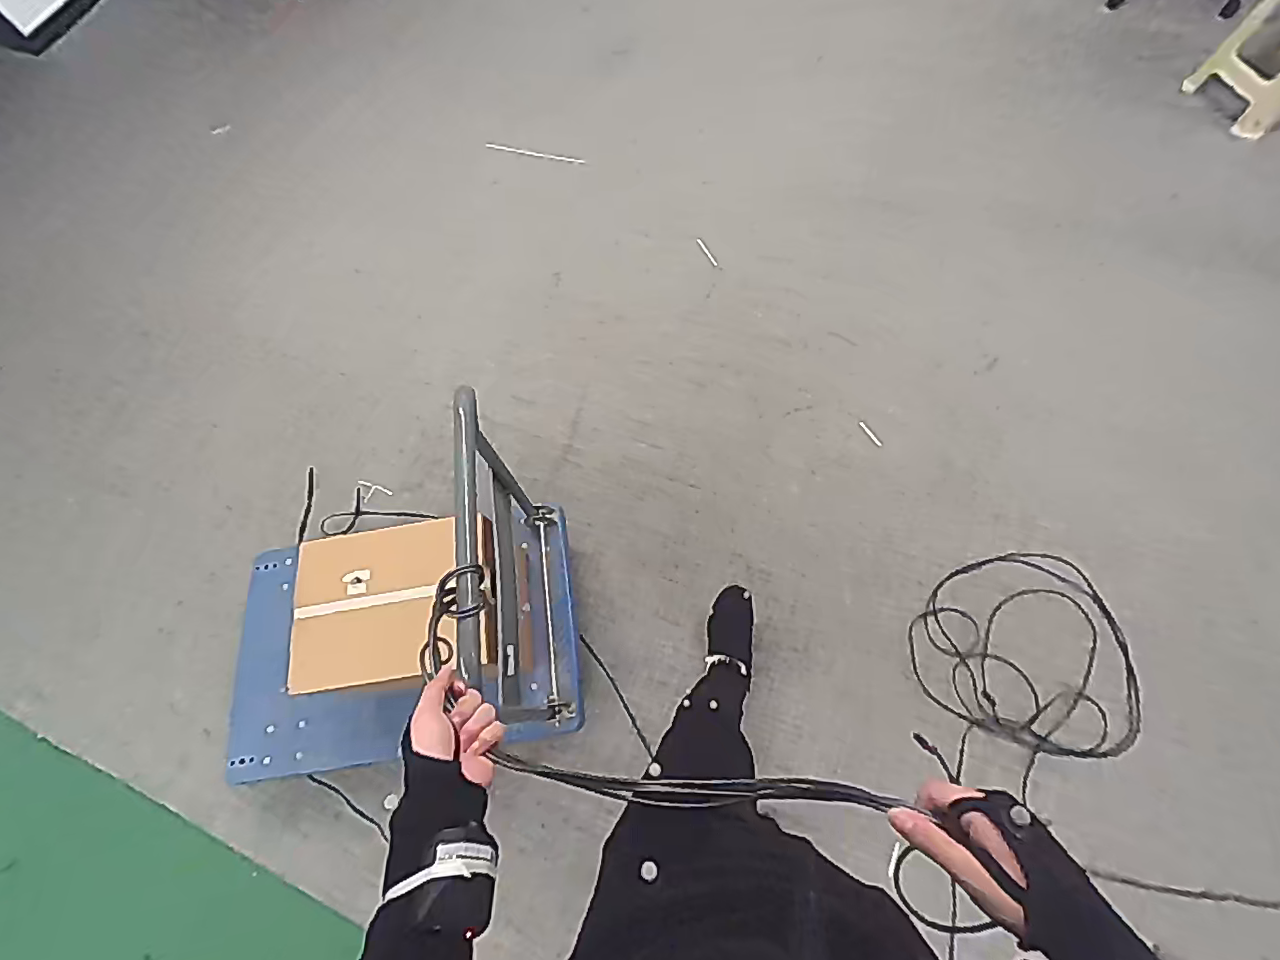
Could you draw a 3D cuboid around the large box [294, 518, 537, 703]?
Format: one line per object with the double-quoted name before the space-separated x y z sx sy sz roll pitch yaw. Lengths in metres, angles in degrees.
"large box" -0.481 0.308 1.229 0.408 0.320 0.320 -11 67 3
